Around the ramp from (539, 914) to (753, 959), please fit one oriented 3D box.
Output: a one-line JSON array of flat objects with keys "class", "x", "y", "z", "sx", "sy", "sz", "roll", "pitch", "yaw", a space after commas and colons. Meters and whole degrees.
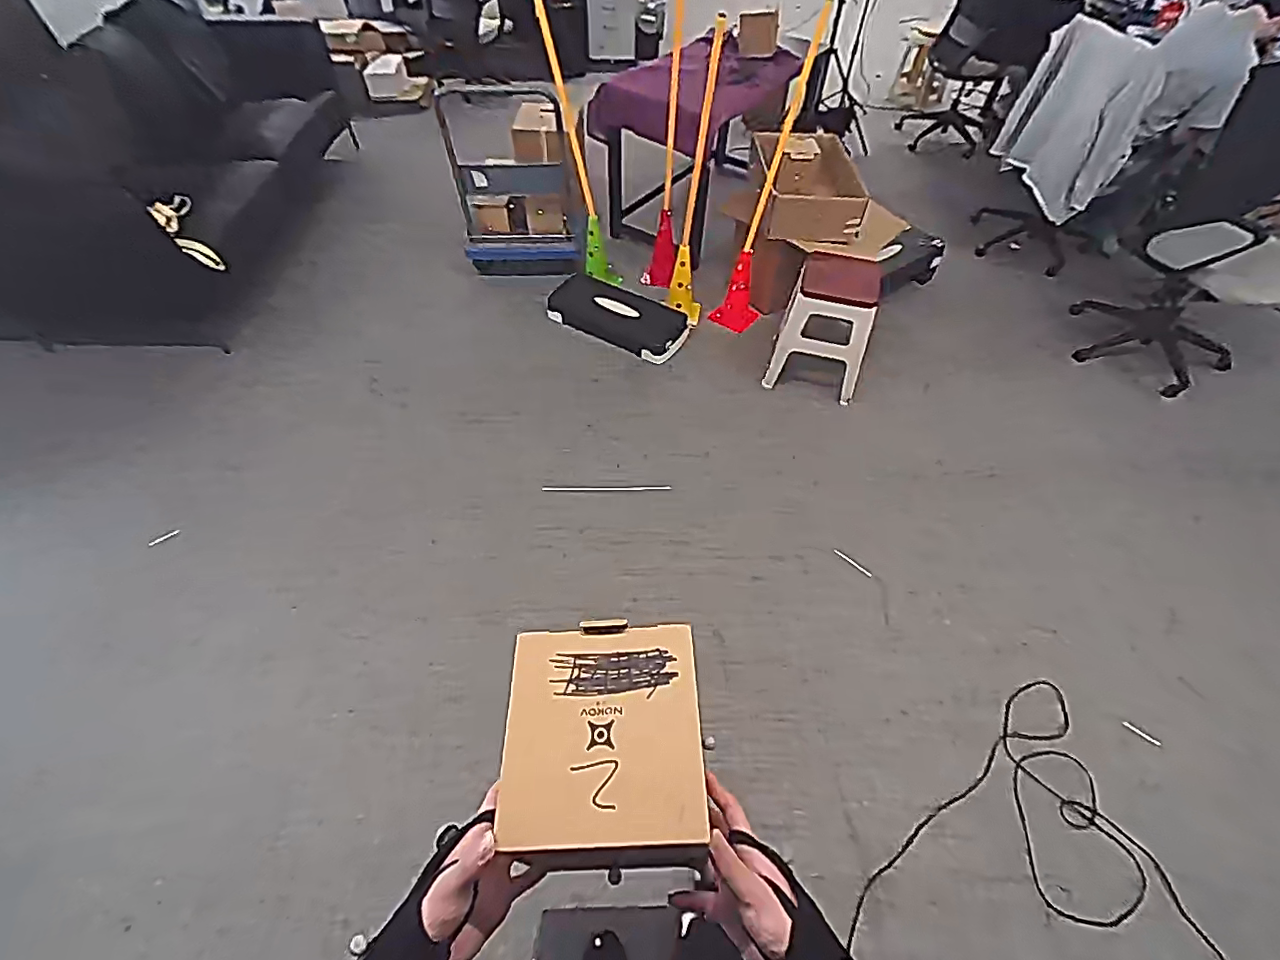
[{"class": "ramp", "x": 0.018, "y": 1.375, "z": 0.918, "sx": 0.509, "sy": 0.206, "sz": 0.991, "roll": -3, "pitch": 53, "yaw": -1}]
